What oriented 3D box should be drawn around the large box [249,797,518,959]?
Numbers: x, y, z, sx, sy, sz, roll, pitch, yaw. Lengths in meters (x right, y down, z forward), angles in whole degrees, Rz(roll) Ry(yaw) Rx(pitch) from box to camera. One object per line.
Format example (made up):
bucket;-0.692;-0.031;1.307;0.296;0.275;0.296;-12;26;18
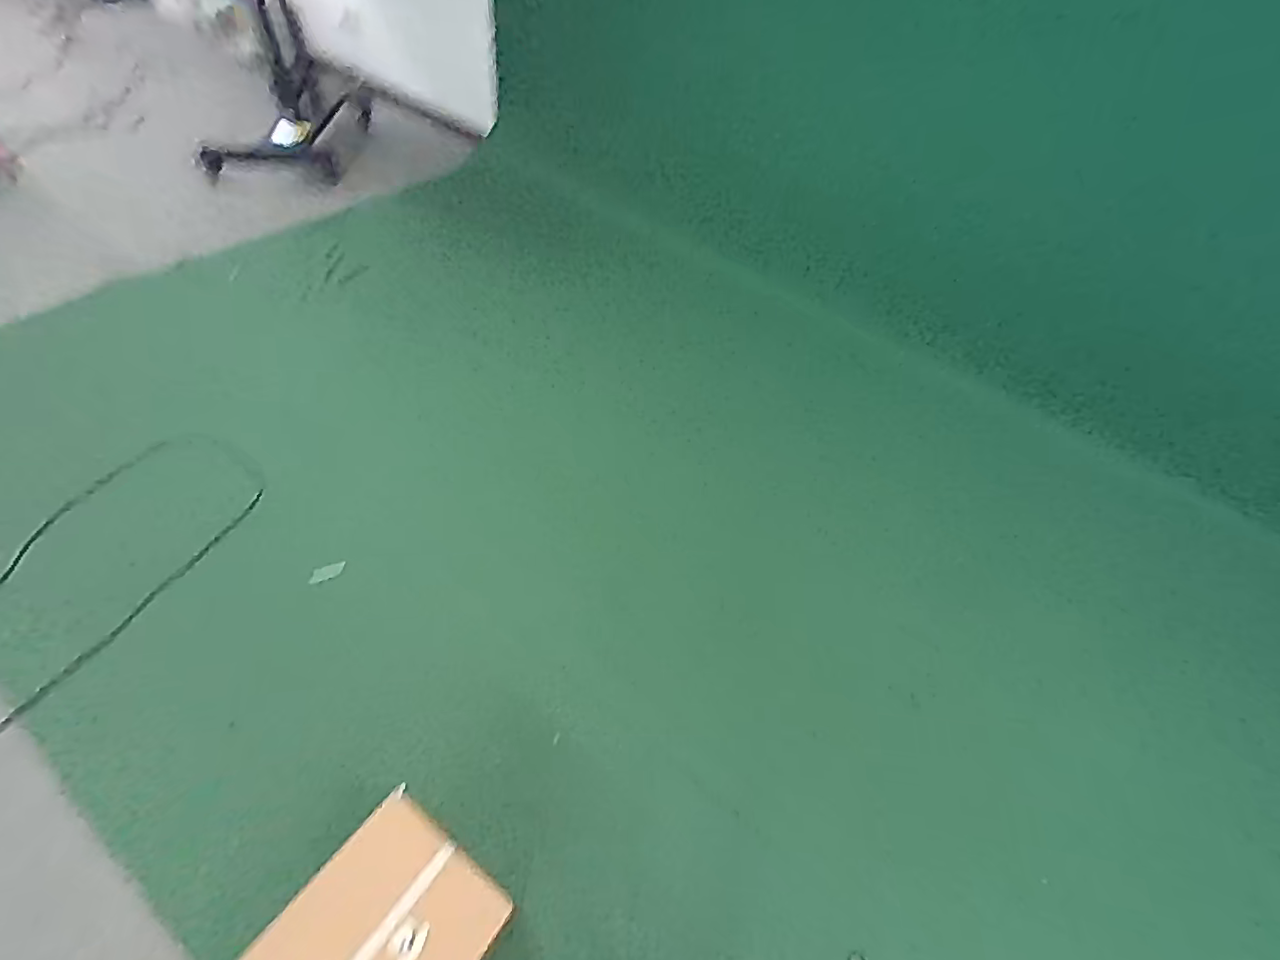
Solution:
large box;-0.482;0.905;1.010;0.320;0.320;0.408;32;53;16
